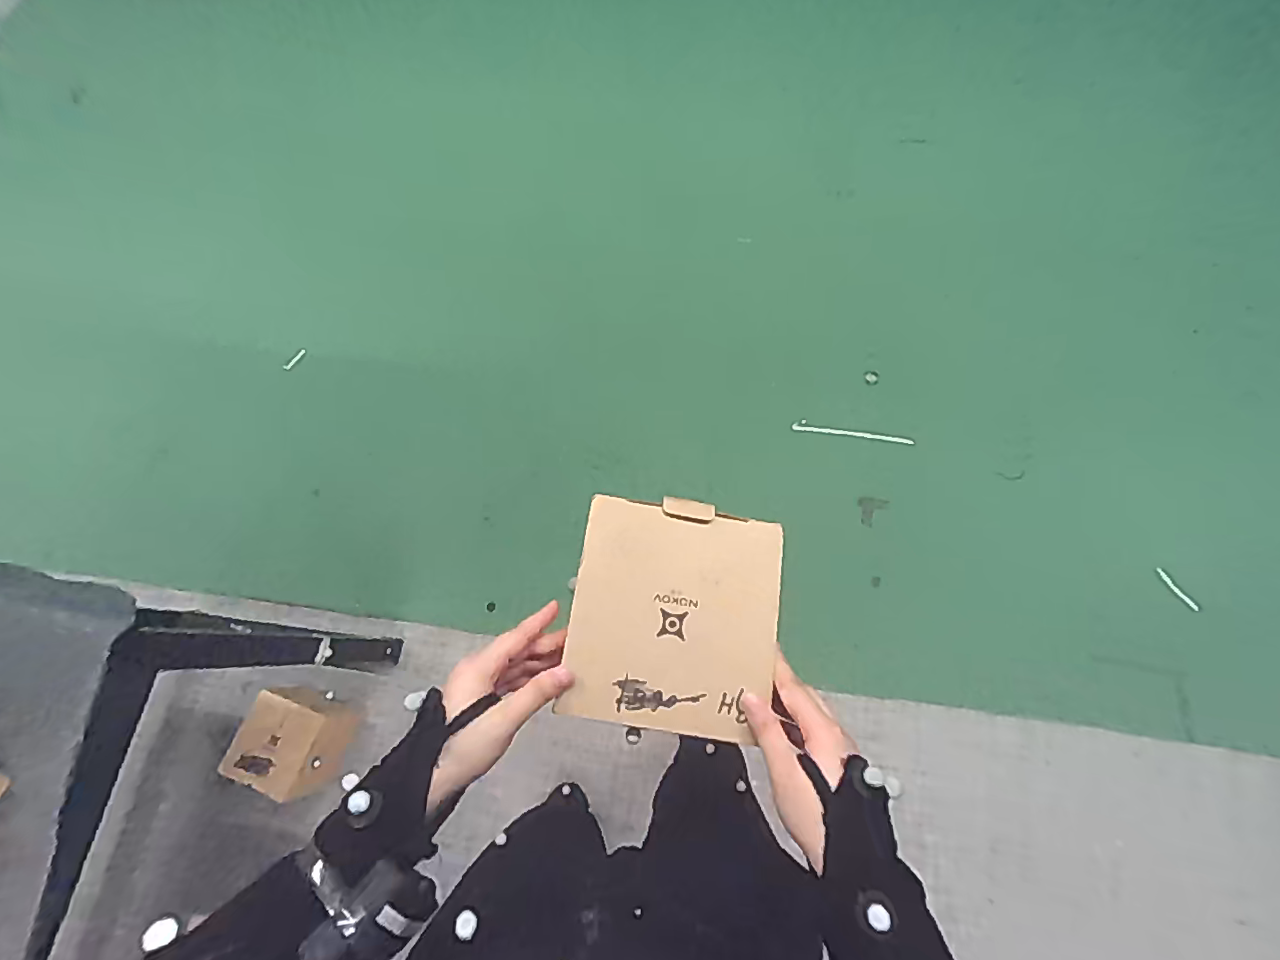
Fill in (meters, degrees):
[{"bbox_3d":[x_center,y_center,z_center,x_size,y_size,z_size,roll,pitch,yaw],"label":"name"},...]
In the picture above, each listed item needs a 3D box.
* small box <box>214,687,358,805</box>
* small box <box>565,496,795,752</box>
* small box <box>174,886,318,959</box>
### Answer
[{"bbox_3d":[-0.767,0.576,1.195,0.168,0.176,0.179,20,73,8],"label":"small box"},{"bbox_3d":[0.032,0.131,0.503,0.168,0.176,0.179,9,73,0],"label":"small box"},{"bbox_3d":[-0.788,0.946,1.080,0.179,0.176,0.168,4,72,5],"label":"small box"}]
